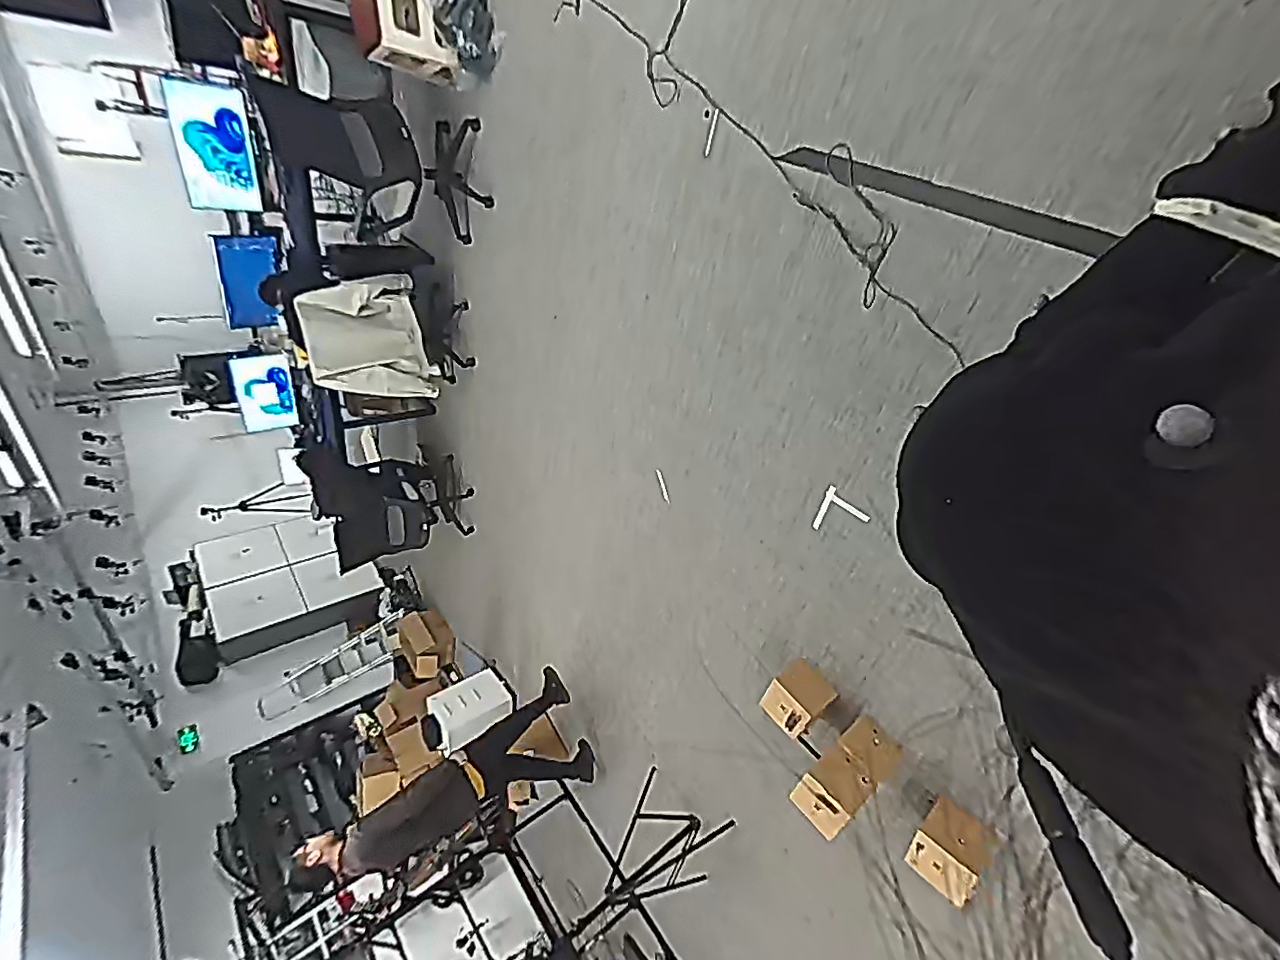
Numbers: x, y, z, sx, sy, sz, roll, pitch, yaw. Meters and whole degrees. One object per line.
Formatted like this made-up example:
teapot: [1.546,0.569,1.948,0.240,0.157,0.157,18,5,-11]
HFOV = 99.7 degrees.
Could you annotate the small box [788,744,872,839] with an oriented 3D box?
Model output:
small box: [0.611,0.988,1.729,0.168,0.176,0.179,41,134,34]

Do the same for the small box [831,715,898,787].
small box: [0.735,0.937,1.825,0.168,0.176,0.179,43,134,31]

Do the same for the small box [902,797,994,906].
small box: [0.942,1.123,1.648,0.179,0.176,0.168,28,125,41]
